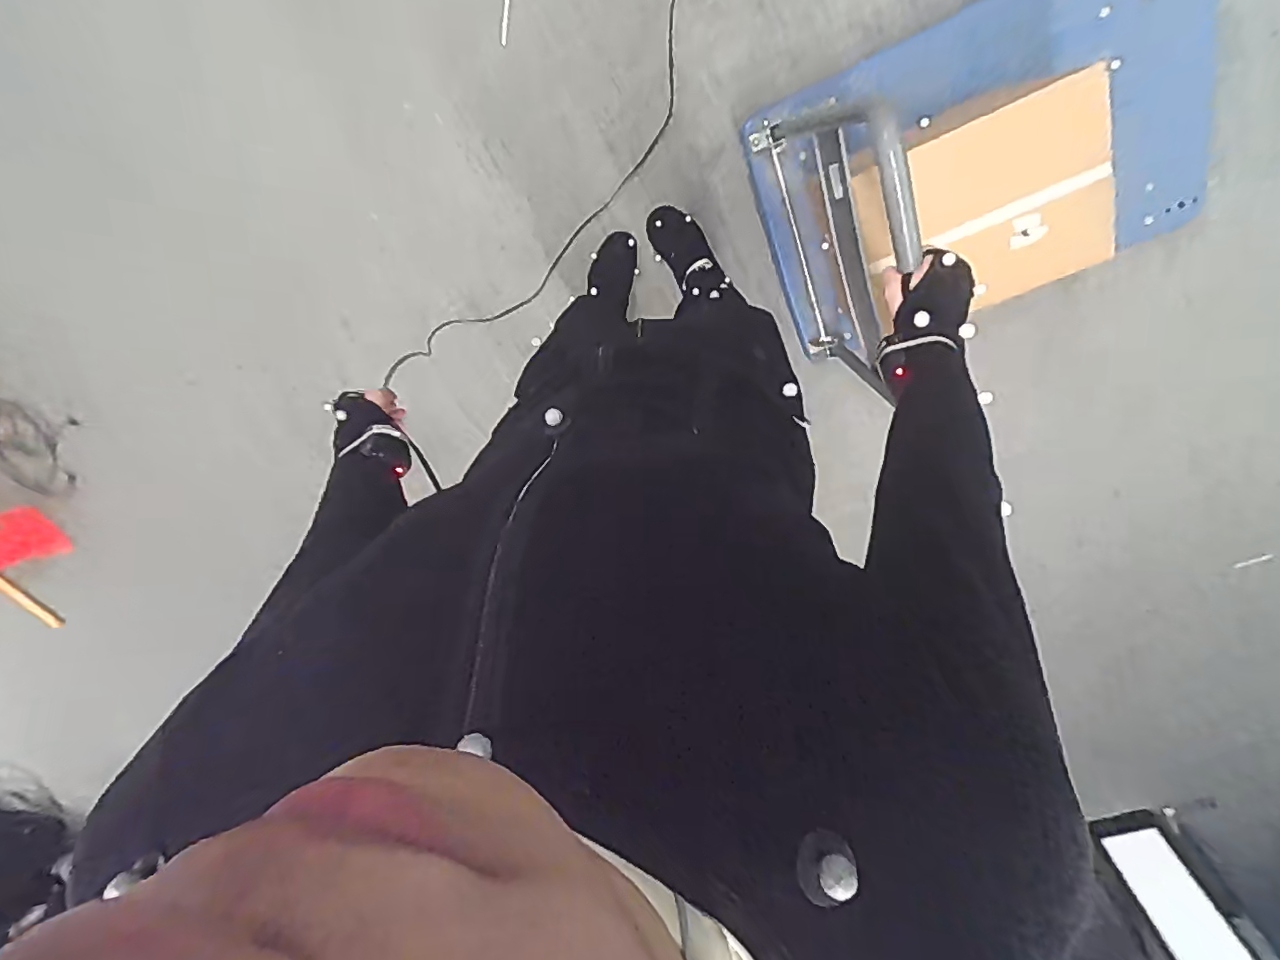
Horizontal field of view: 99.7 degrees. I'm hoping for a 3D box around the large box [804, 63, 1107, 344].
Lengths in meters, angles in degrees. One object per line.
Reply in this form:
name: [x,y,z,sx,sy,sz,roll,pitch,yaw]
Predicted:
large box: [0.593,-0.525,1.072,0.408,0.320,0.320,-20,118,13]
